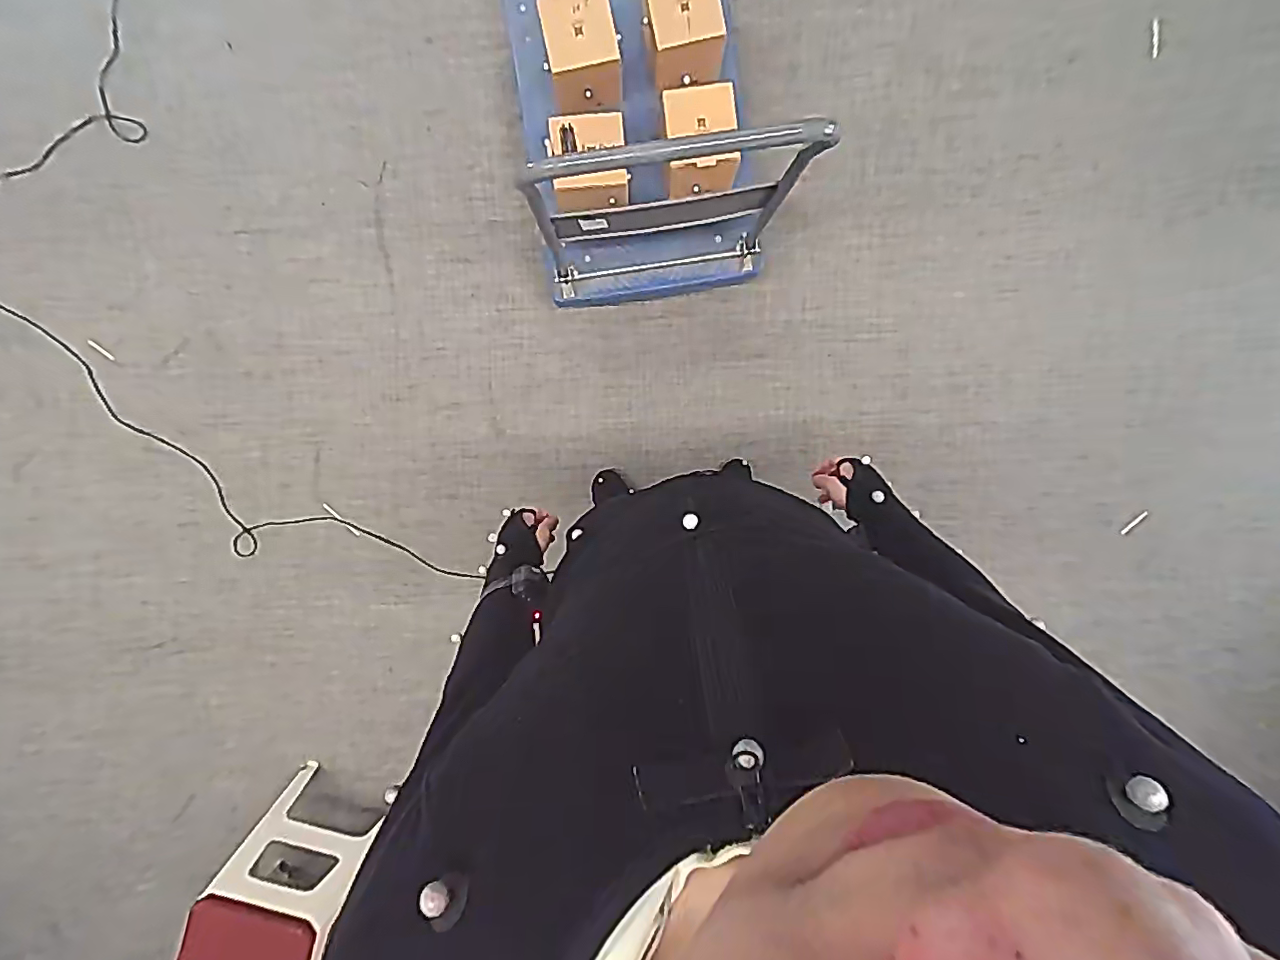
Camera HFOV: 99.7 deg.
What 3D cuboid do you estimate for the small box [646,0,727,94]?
[{"bbox_3d":[0.108,-1.107,1.336,0.168,0.176,0.179,-12,94,2],"label":"small box"}]

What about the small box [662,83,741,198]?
[{"bbox_3d":[0.148,-0.840,1.350,0.168,0.176,0.179,-8,93,1],"label":"small box"}]

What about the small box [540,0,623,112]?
[{"bbox_3d":[-0.138,-1.053,1.341,0.168,0.176,0.179,-12,93,0],"label":"small box"}]
